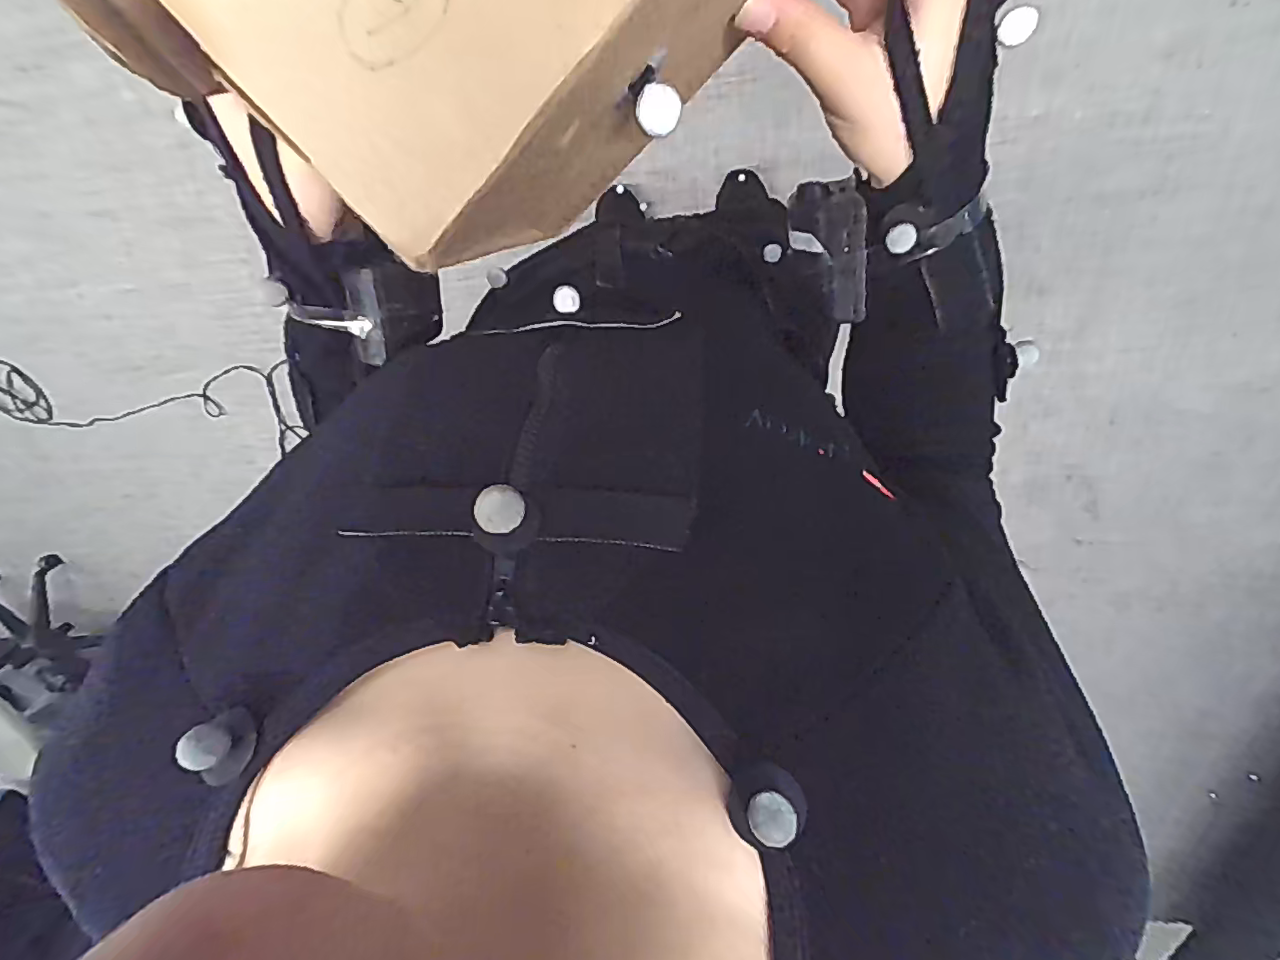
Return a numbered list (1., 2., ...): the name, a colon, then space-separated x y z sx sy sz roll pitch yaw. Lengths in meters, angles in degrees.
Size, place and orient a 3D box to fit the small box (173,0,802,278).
1. small box: -0.036 -0.195 0.171 0.179 0.176 0.168 -38 108 21
